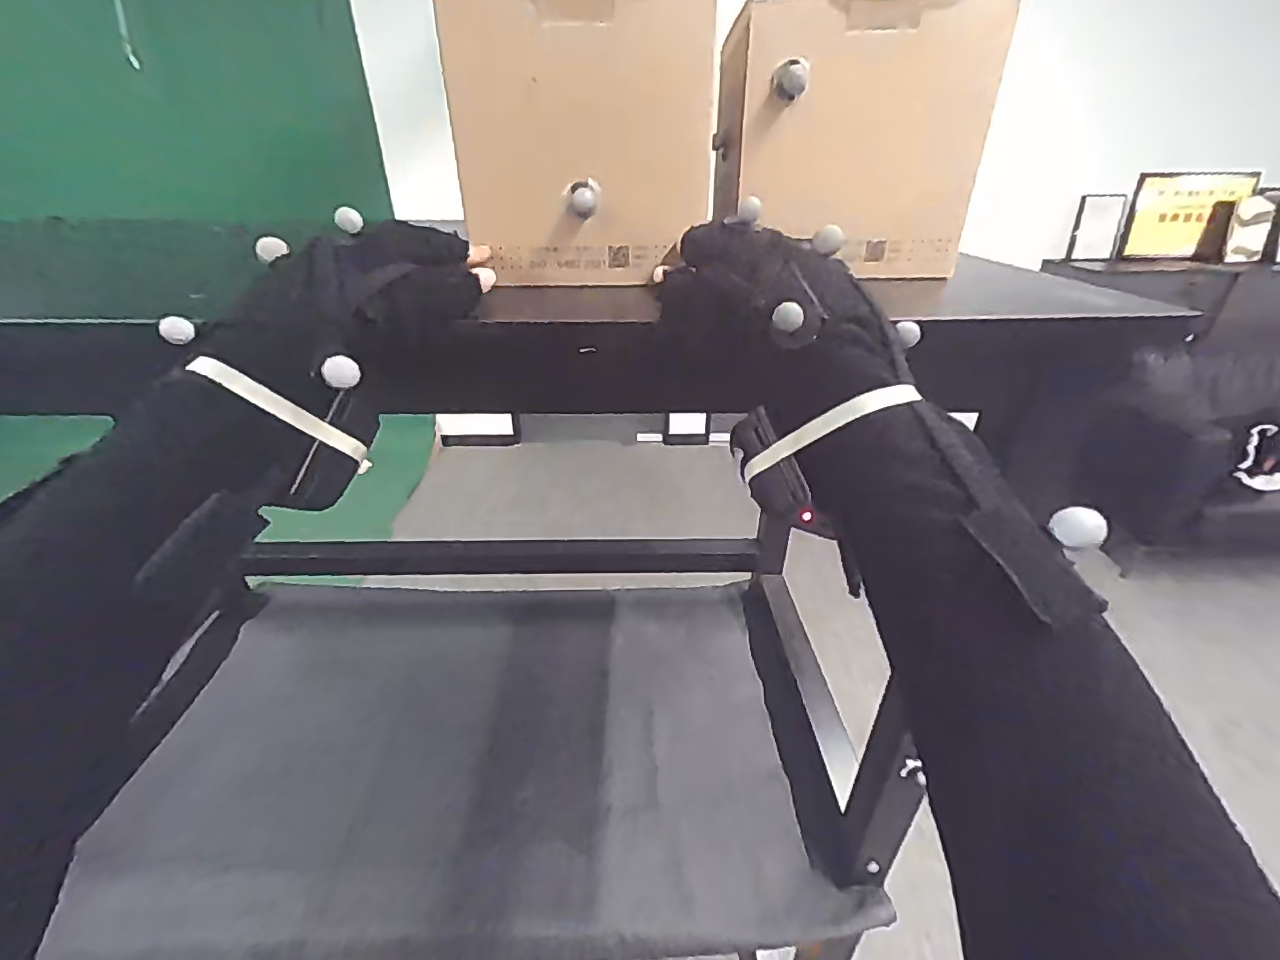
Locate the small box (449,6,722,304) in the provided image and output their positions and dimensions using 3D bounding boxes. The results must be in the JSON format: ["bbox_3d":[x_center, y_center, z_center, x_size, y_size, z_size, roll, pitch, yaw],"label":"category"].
[{"bbox_3d":[-0.034,-0.245,0.429,0.168,0.176,0.179,-1,31,-1],"label":"small box"}]
